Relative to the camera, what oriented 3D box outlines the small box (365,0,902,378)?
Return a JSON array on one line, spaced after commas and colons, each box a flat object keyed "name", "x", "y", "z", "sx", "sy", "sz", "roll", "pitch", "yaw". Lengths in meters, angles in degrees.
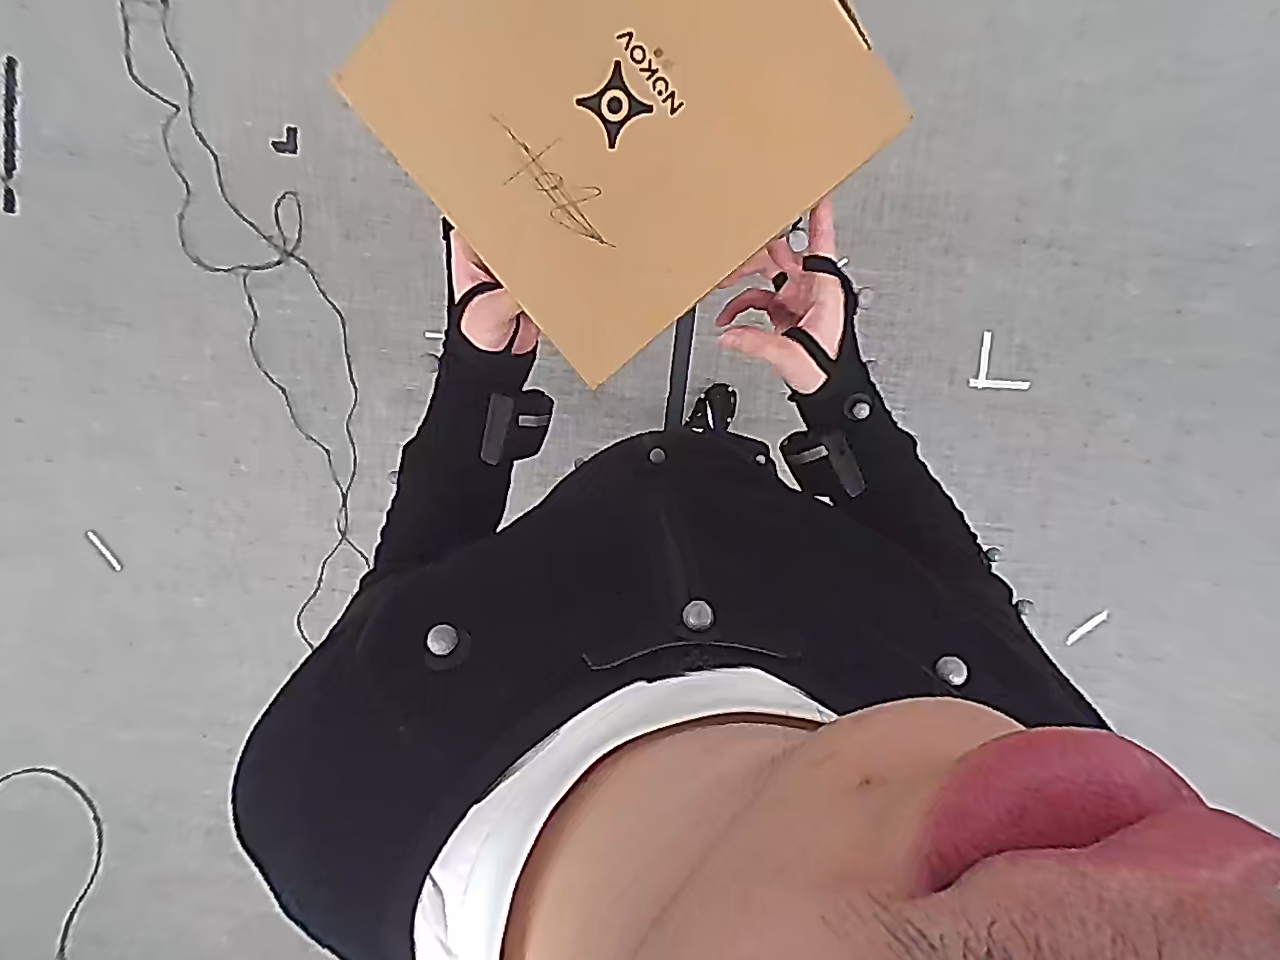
[{"name": "small box", "x": -0.001, "y": -0.182, "z": 0.307, "sx": 0.179, "sy": 0.176, "sz": 0.168, "roll": -38, "pitch": 100, "yaw": 12}]
